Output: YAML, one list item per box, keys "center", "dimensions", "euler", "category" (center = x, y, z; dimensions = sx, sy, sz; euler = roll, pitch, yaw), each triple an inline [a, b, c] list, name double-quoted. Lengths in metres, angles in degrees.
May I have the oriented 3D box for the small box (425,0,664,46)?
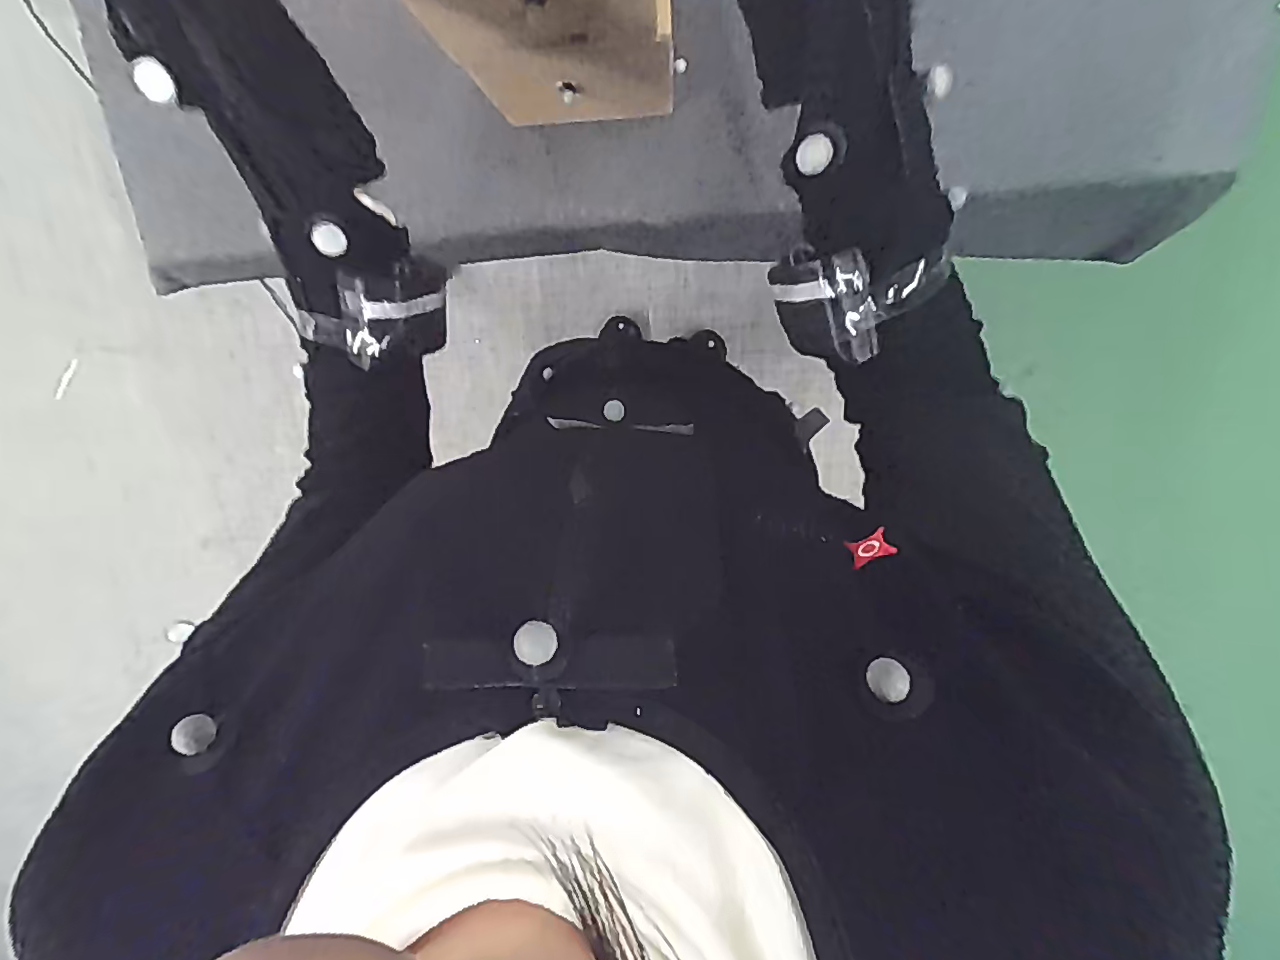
- center: [-0.073, -0.405, 0.333]
  dimensions: [0.168, 0.176, 0.179]
  euler: [-3, 106, 5]
  category: "small box"

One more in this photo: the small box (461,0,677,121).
- center: [-0.056, -0.451, 0.489]
  dimensions: [0.179, 0.176, 0.168]
  euler: [-2, 106, 6]
  category: "small box"
